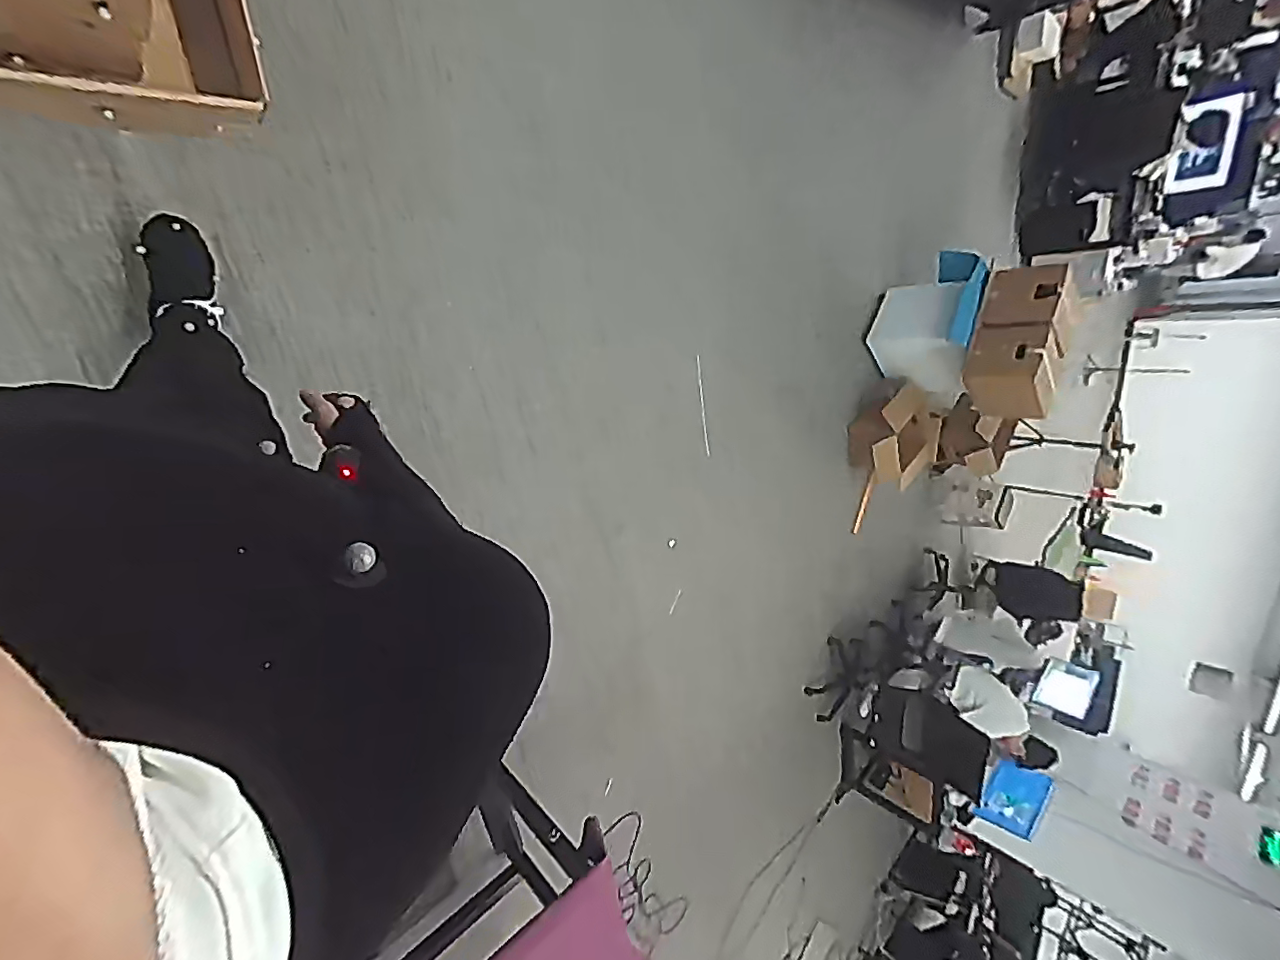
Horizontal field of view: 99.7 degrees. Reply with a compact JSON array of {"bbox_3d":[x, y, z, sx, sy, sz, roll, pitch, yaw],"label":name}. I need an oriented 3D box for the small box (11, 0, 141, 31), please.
[{"bbox_3d":[-0.658,-0.629,0.573,0.168,0.176,0.179,-17,111,-41],"label":"small box"}]

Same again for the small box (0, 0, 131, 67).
[{"bbox_3d":[-0.775,-0.663,0.681,0.168,0.176,0.179,-19,112,-39],"label":"small box"}]
